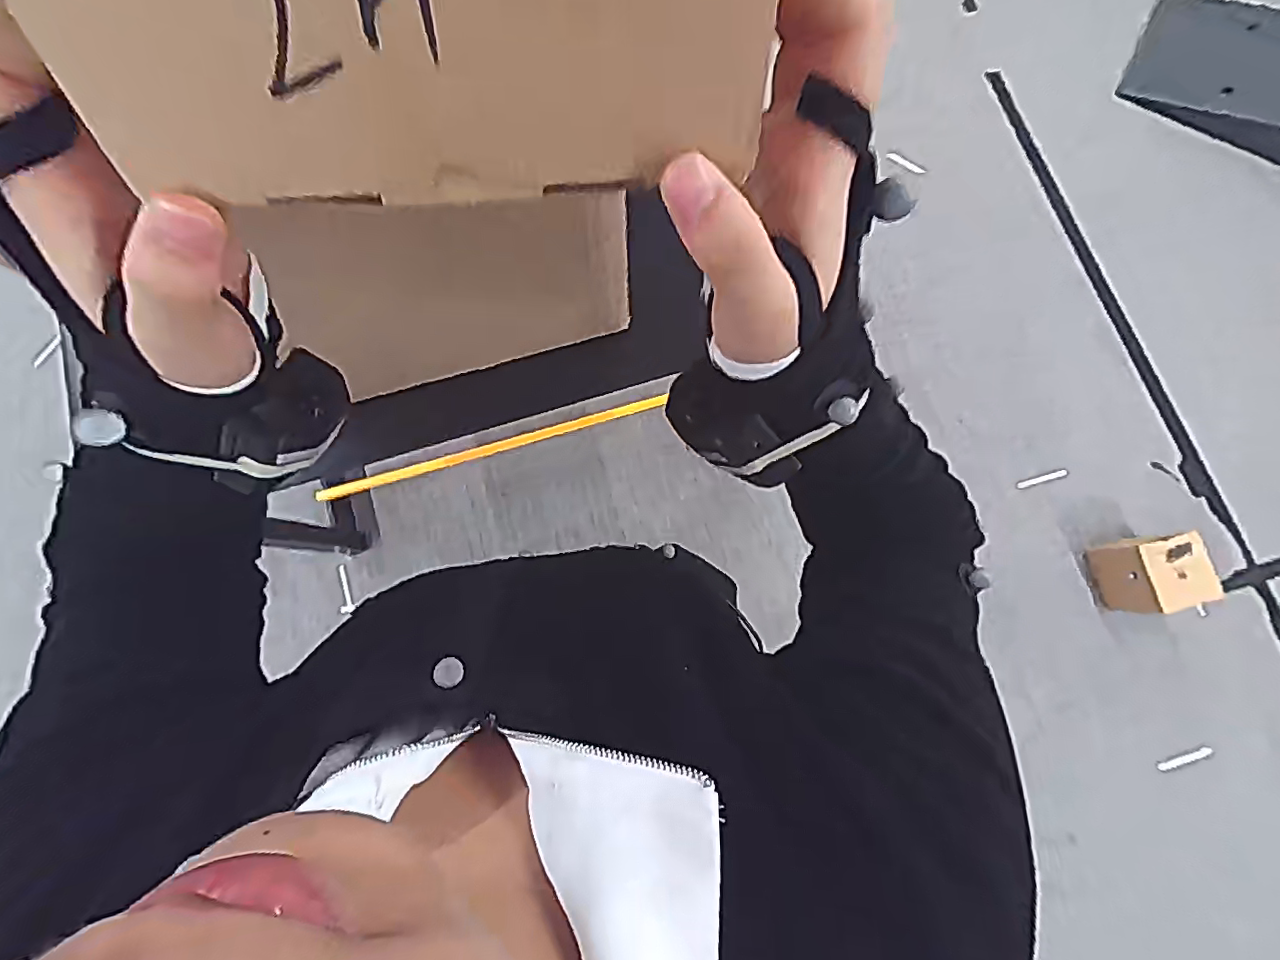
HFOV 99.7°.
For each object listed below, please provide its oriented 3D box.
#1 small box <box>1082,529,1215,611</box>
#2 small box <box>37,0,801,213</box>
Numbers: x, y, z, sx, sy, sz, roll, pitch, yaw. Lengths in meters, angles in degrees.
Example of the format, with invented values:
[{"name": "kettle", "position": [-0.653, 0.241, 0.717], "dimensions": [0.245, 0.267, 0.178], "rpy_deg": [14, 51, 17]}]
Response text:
[{"name": "small box", "position": [1.345, 0.242, 1.445], "dimensions": [0.168, 0.176, 0.179], "rpy_deg": [-14, 81, -3]}, {"name": "small box", "position": [-0.052, -0.194, 0.143], "dimensions": [0.168, 0.179, 0.176], "rpy_deg": [-4, 47, -5]}]
